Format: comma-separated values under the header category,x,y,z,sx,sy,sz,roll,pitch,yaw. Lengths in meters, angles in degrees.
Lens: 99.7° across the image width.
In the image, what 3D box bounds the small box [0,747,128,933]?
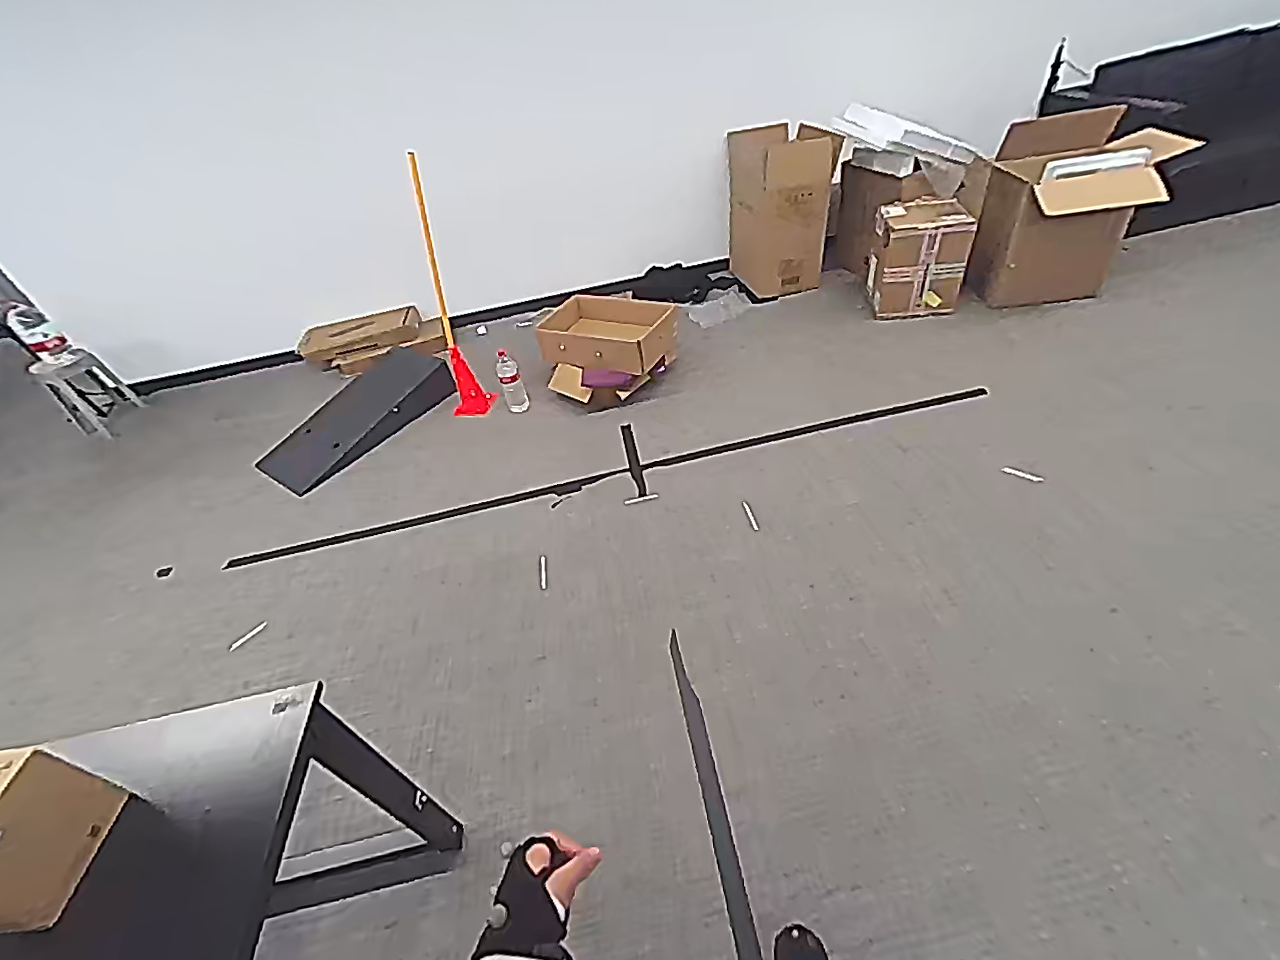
category,x,y,z,sx,sy,sz,roll,pitch,yaw
small box,-0.859,0.479,0.710,0.179,0.176,0.168,-9,41,3
